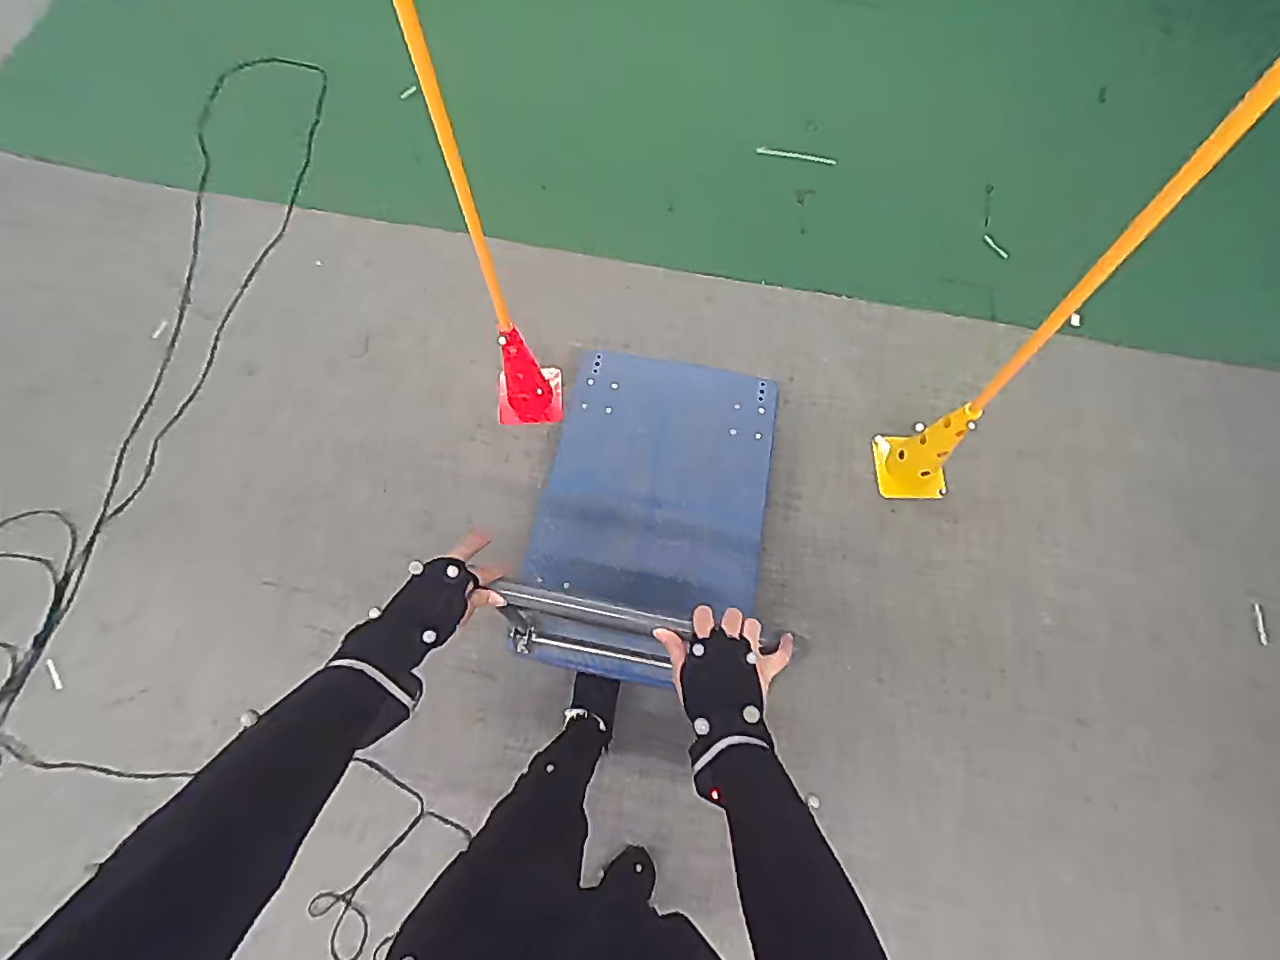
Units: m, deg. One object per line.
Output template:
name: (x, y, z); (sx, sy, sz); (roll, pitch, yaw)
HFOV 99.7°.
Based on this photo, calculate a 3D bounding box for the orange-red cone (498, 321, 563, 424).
orange-red cone: (-0.350, -0.331, 1.558); (0.199, 0.360, 0.198); (-3, 68, 0)
